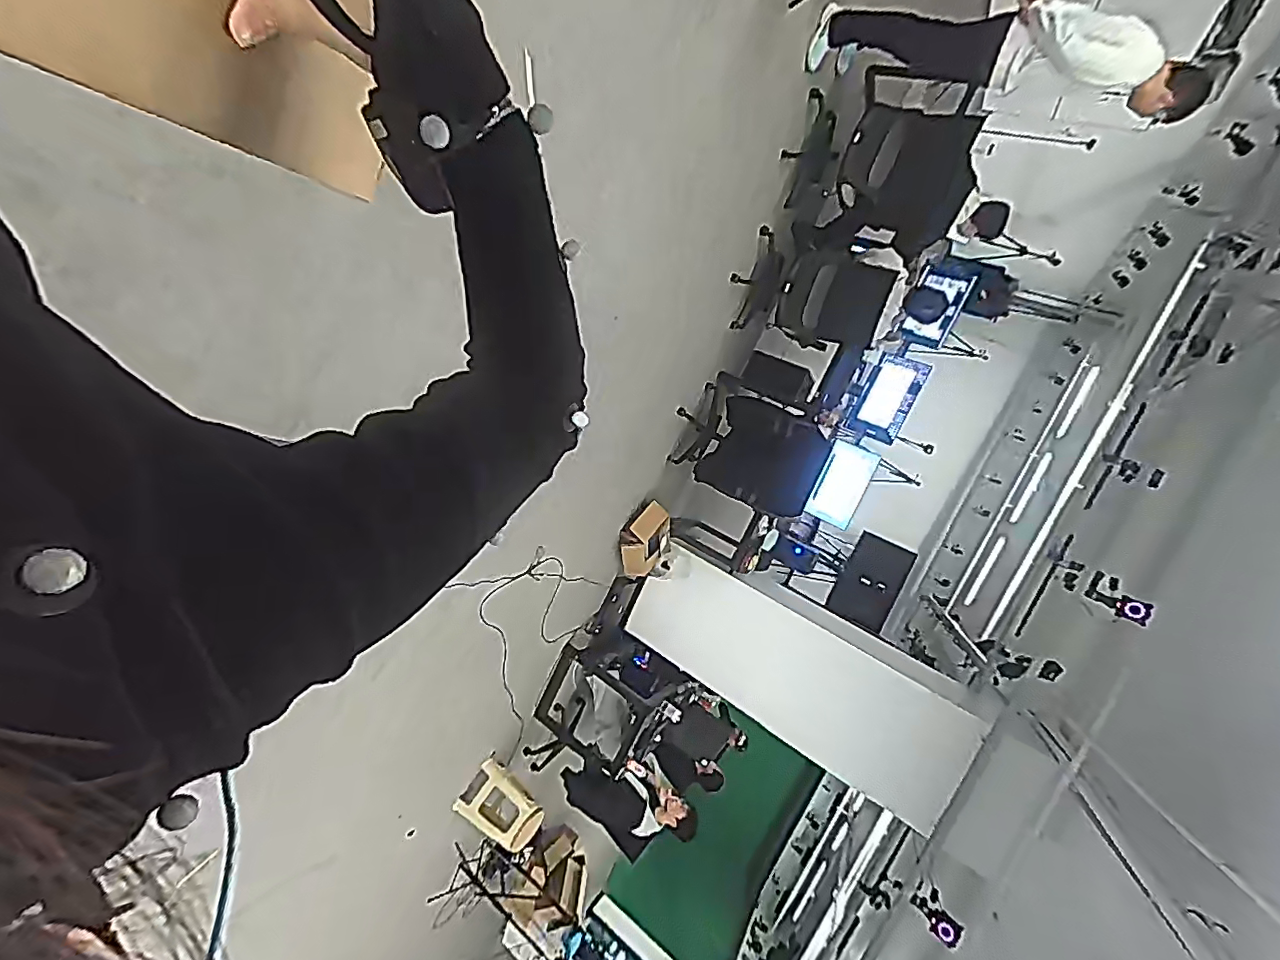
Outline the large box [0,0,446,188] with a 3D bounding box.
[{"bbox_3d":[-0.320,-0.407,0.255,0.320,0.408,0.320,-63,-170,14],"label":"large box"}]
